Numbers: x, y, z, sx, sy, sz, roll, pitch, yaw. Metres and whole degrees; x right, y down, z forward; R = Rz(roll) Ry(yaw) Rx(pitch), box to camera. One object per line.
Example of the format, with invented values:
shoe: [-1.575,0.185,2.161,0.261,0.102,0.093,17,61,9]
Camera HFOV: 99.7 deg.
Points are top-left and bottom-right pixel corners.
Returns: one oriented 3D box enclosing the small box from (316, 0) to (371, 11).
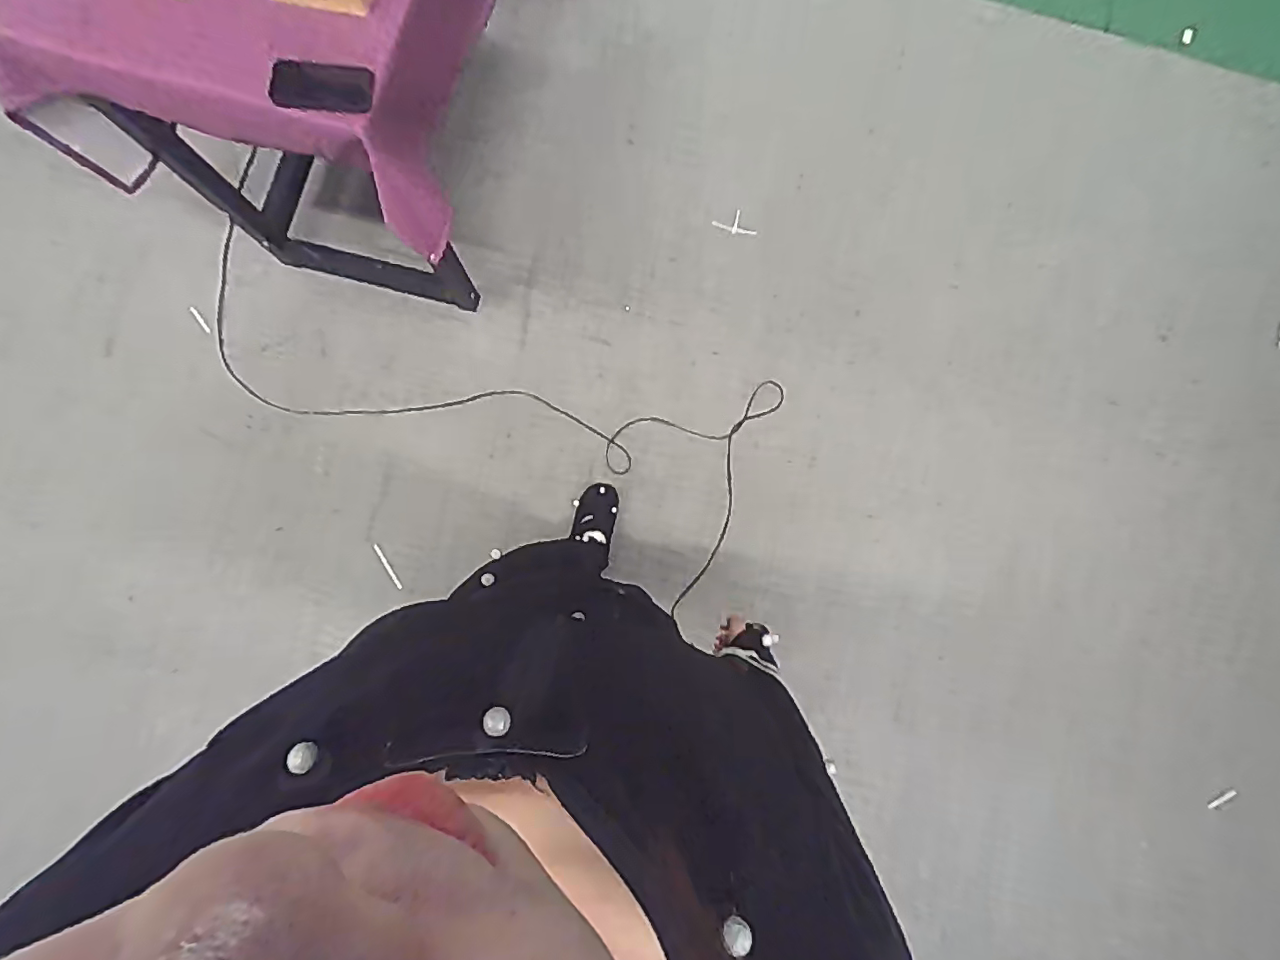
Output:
small box: [-0.493,-0.846,0.791,0.168,0.176,0.179,9,82,-2]
